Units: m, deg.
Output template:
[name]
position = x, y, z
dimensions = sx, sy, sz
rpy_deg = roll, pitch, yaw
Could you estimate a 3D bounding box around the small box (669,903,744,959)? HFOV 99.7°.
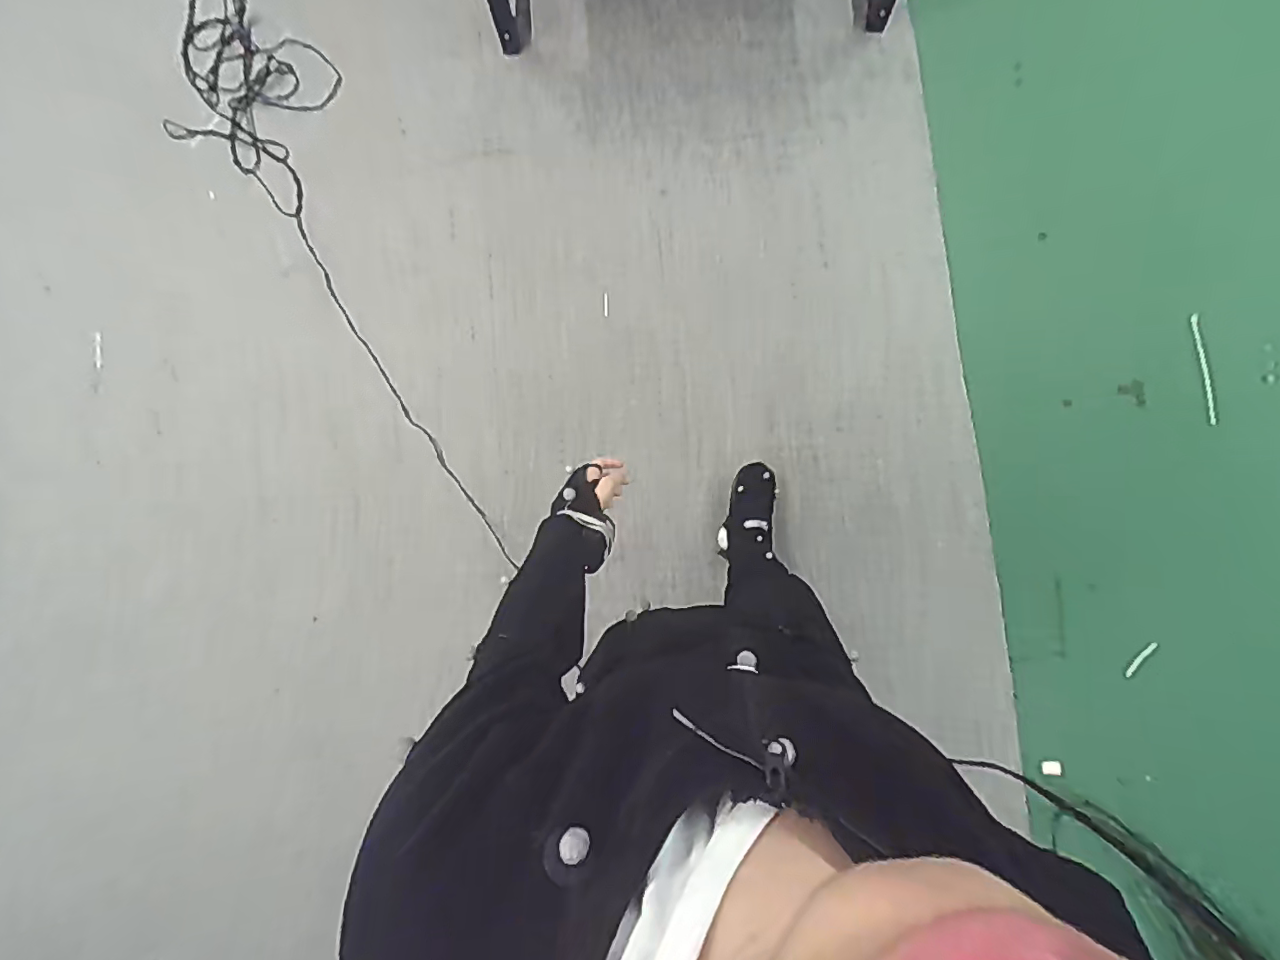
[small box]
position = 0.157, 1.150, 1.292
dimensions = 0.168, 0.176, 0.179
rpy_deg = -3, 82, 2
